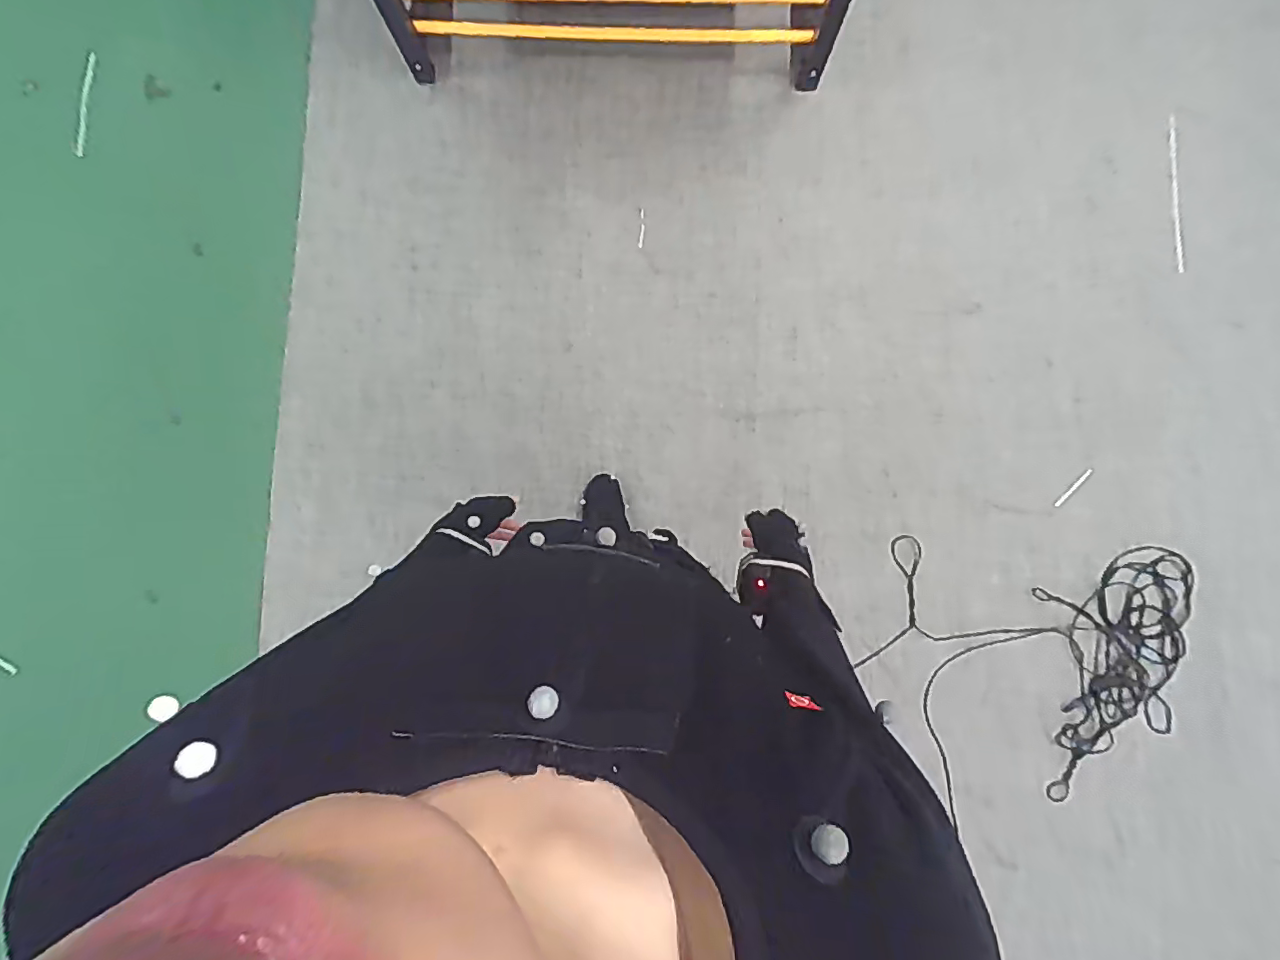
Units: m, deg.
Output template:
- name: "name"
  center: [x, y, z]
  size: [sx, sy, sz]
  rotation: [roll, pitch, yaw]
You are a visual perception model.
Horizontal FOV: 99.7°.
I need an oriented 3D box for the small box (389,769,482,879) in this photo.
- name: "small box"
  center: [-0.498, 0.842, 1.340]
  size: [0.168, 0.176, 0.179]
  rotation: [2, 86, 1]
